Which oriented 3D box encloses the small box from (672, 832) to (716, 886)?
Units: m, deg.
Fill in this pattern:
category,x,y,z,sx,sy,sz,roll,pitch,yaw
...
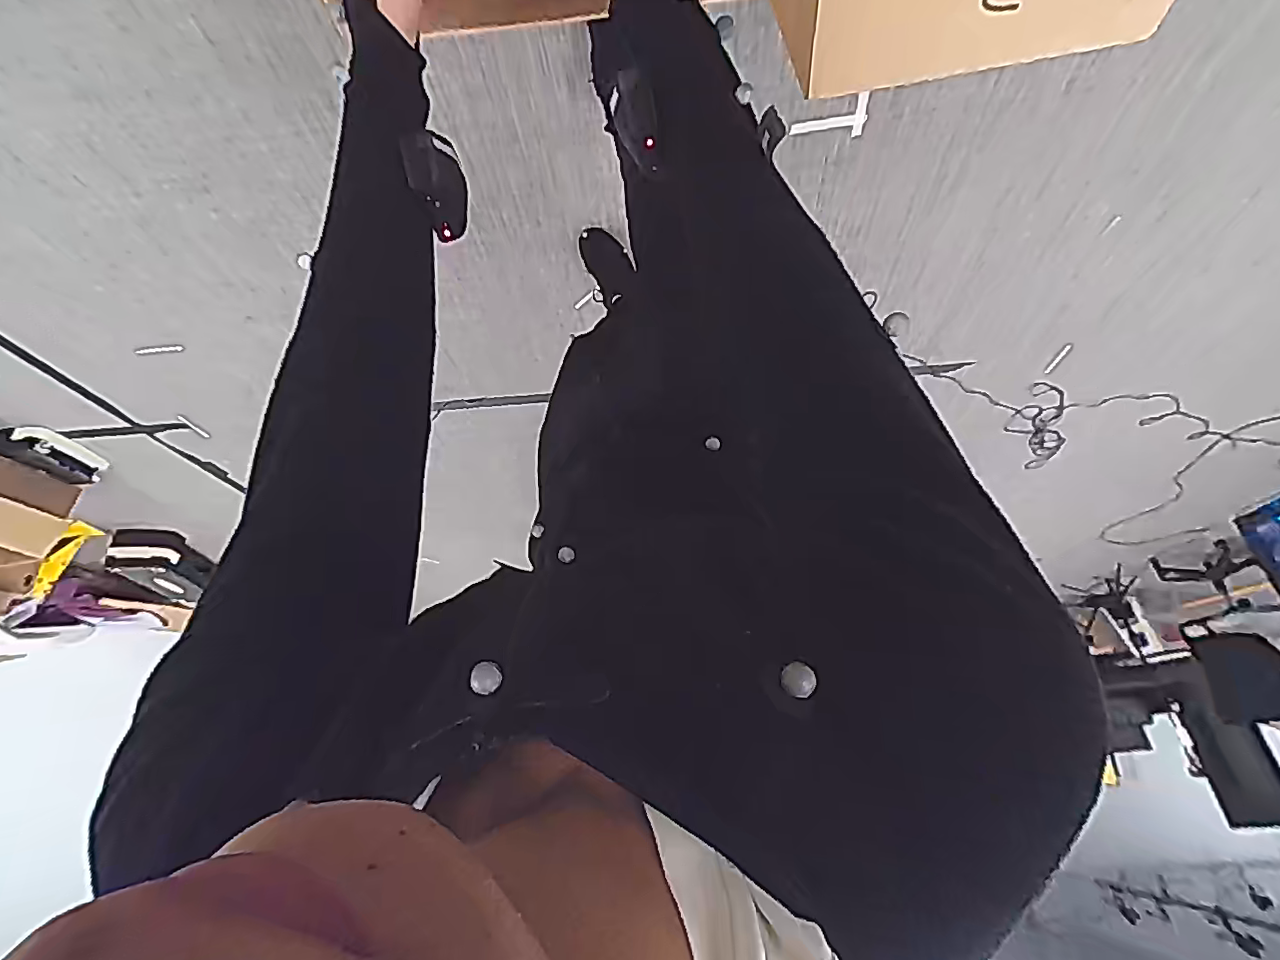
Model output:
category,x,y,z,sx,sy,sz,roll,pitch,yaw
small box,0.229,1.626,2.326,0.168,0.176,0.179,-2,151,-3
